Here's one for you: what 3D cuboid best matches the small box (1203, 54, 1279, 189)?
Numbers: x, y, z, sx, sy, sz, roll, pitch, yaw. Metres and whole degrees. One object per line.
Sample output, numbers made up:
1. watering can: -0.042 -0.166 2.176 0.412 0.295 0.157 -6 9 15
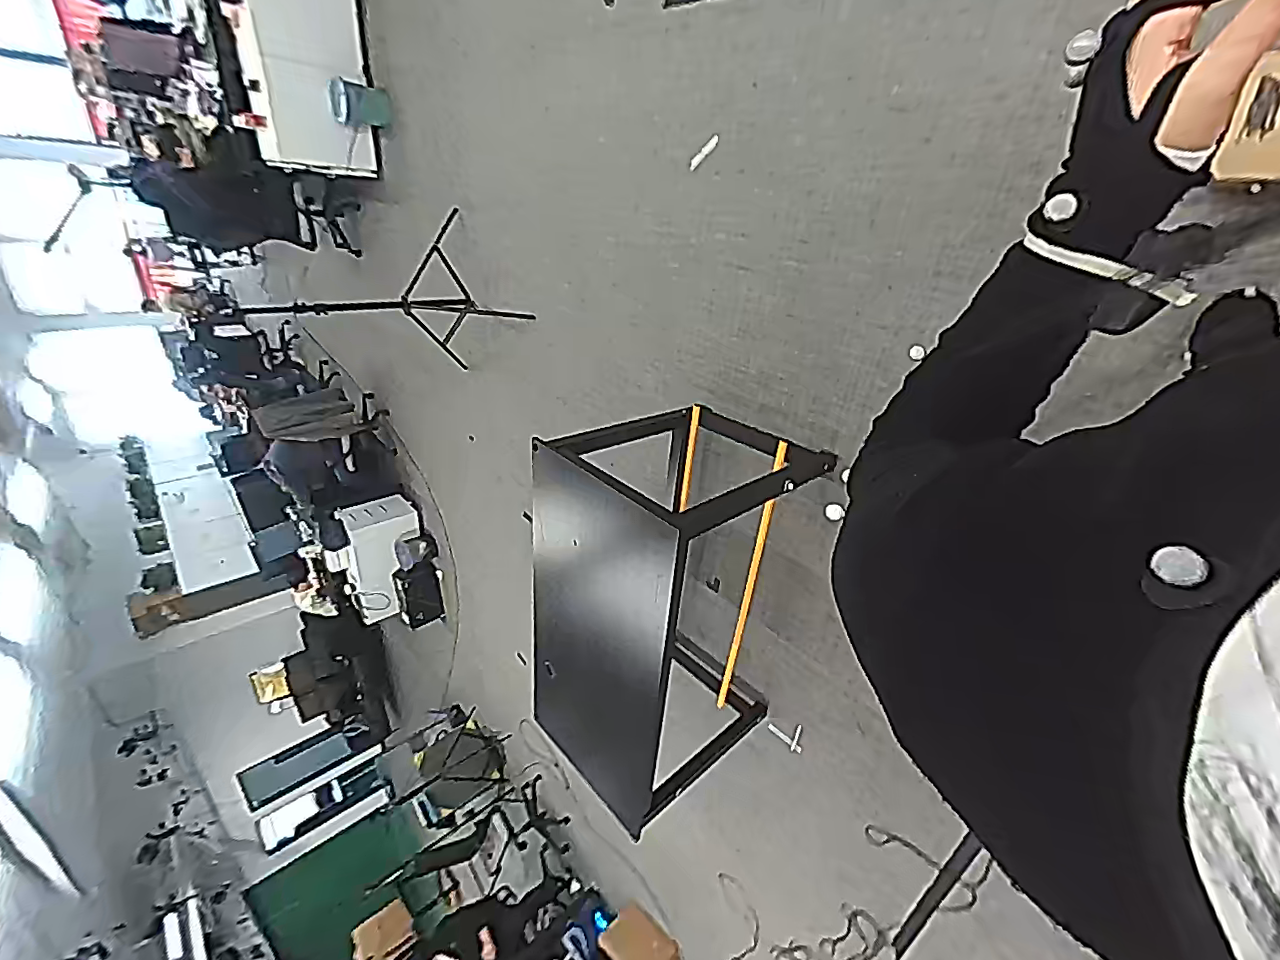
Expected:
1. small box: 1.041 -0.552 0.841 0.179 0.176 0.168 29 126 39
